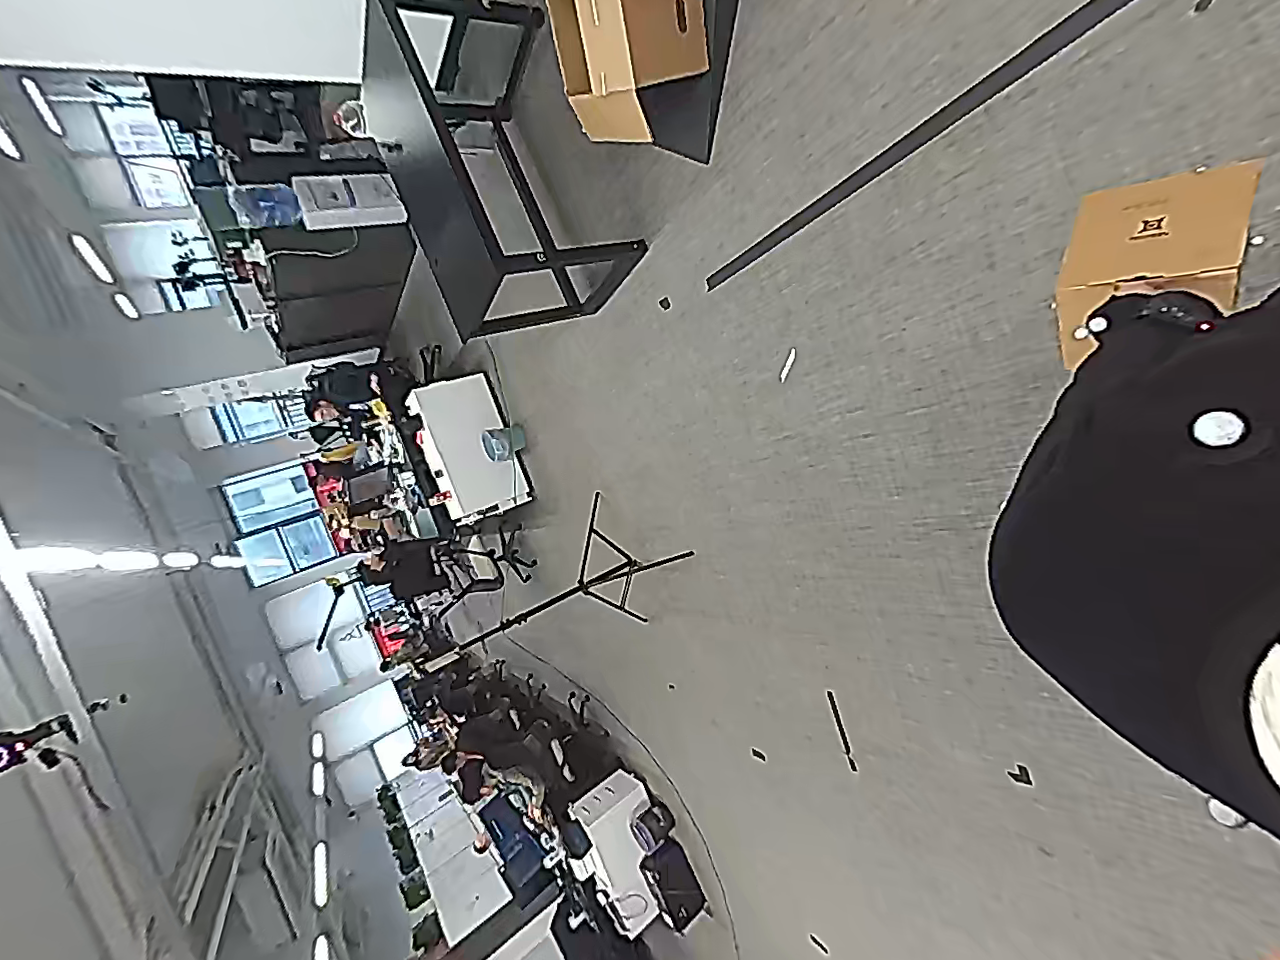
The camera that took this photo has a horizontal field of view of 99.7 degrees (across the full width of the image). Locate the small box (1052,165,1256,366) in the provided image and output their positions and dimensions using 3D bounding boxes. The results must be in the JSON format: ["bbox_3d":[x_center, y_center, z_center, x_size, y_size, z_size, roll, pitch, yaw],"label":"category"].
[{"bbox_3d":[0.677,-0.267,0.721,0.168,0.179,0.176,11,157,46],"label":"small box"}]
